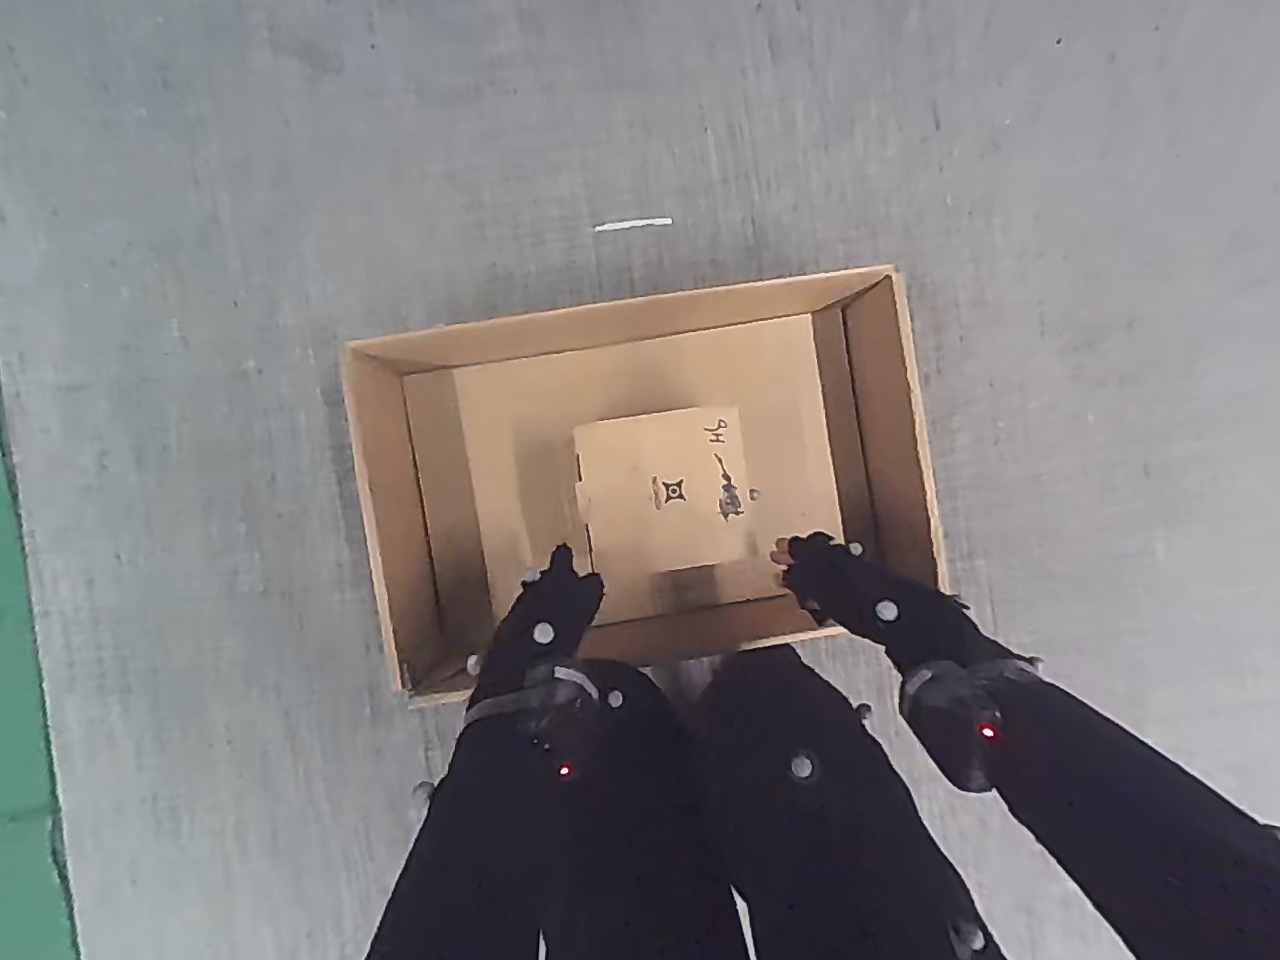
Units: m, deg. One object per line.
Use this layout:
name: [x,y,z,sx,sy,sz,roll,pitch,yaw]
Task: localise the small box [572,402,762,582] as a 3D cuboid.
small box: [0.028,0.018,0.648,0.179,0.176,0.168,-12,87,-1]
